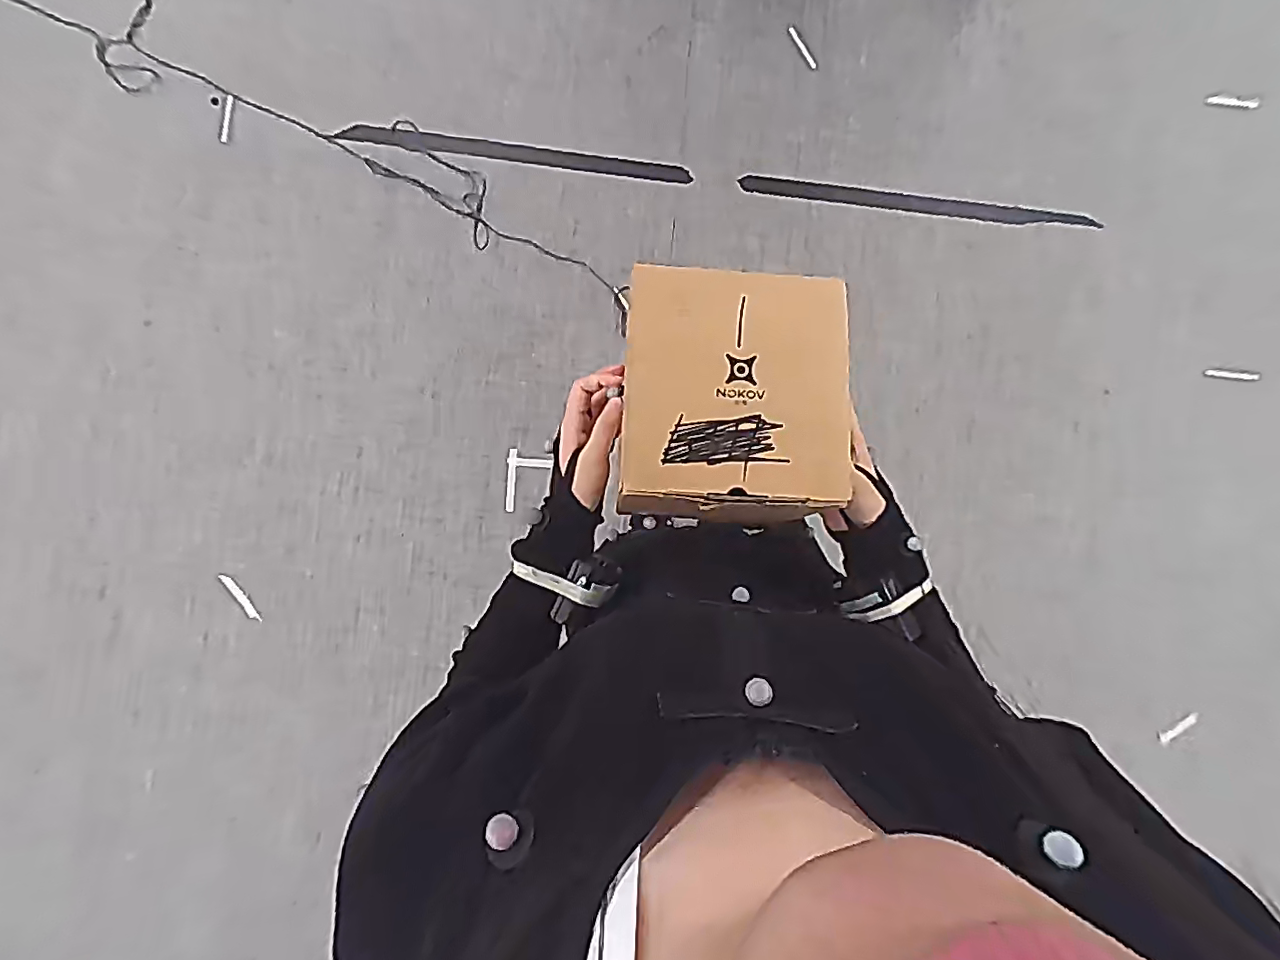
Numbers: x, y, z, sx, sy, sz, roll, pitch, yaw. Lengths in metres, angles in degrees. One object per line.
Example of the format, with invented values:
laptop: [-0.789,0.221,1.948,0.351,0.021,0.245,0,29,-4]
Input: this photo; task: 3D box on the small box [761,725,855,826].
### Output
small box: [0.430,0.758,1.406,0.179,0.176,0.168,-7,88,-3]

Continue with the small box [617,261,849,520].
small box: [0.067,-0.061,0.473,0.168,0.176,0.179,4,80,-4]
